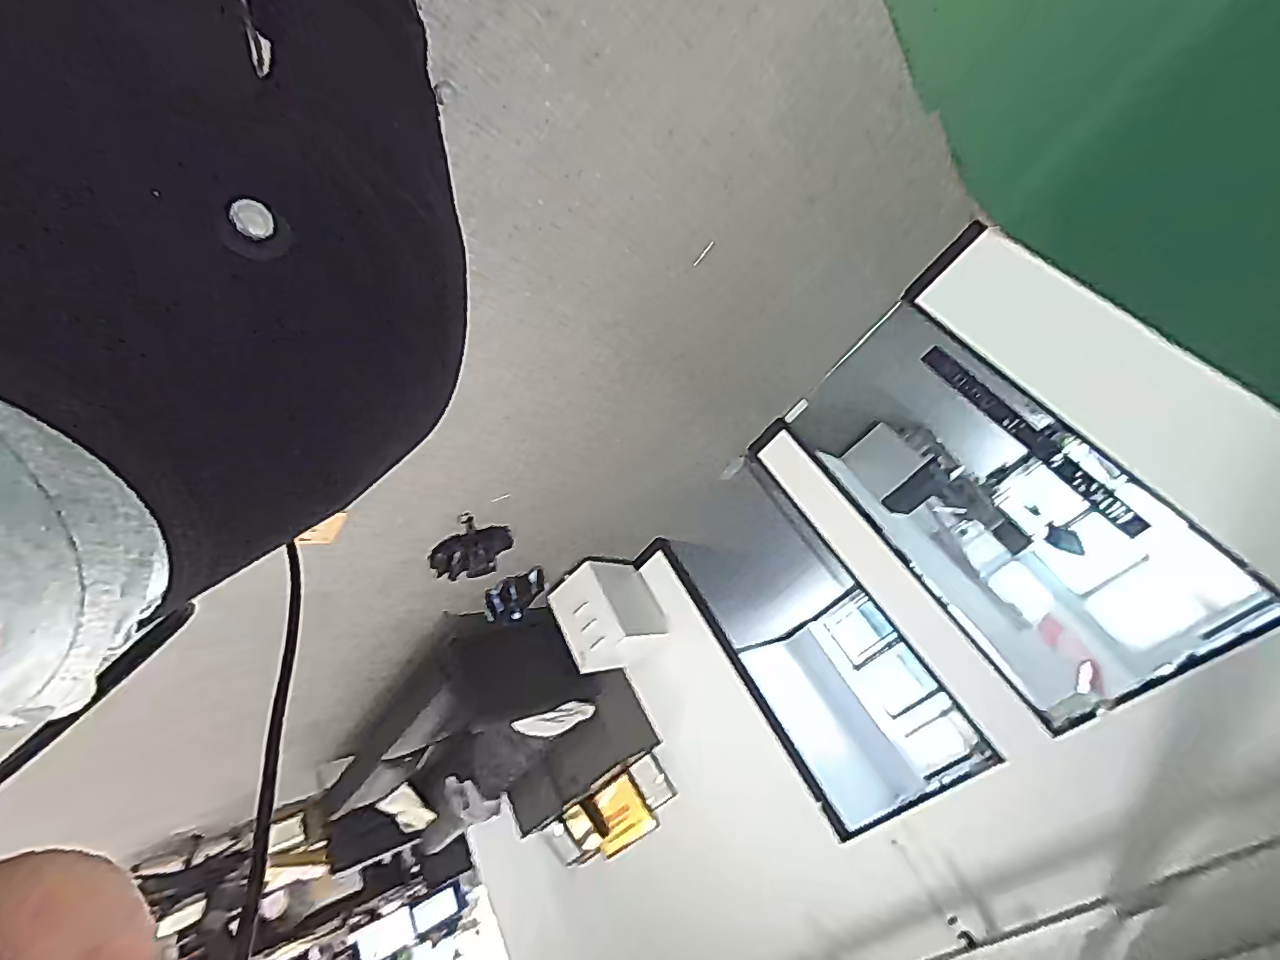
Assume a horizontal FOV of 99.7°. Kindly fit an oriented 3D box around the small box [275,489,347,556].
[{"bbox_3d":[-1.175,0.150,1.925,0.168,0.176,0.179,7,131,-49],"label":"small box"}]
